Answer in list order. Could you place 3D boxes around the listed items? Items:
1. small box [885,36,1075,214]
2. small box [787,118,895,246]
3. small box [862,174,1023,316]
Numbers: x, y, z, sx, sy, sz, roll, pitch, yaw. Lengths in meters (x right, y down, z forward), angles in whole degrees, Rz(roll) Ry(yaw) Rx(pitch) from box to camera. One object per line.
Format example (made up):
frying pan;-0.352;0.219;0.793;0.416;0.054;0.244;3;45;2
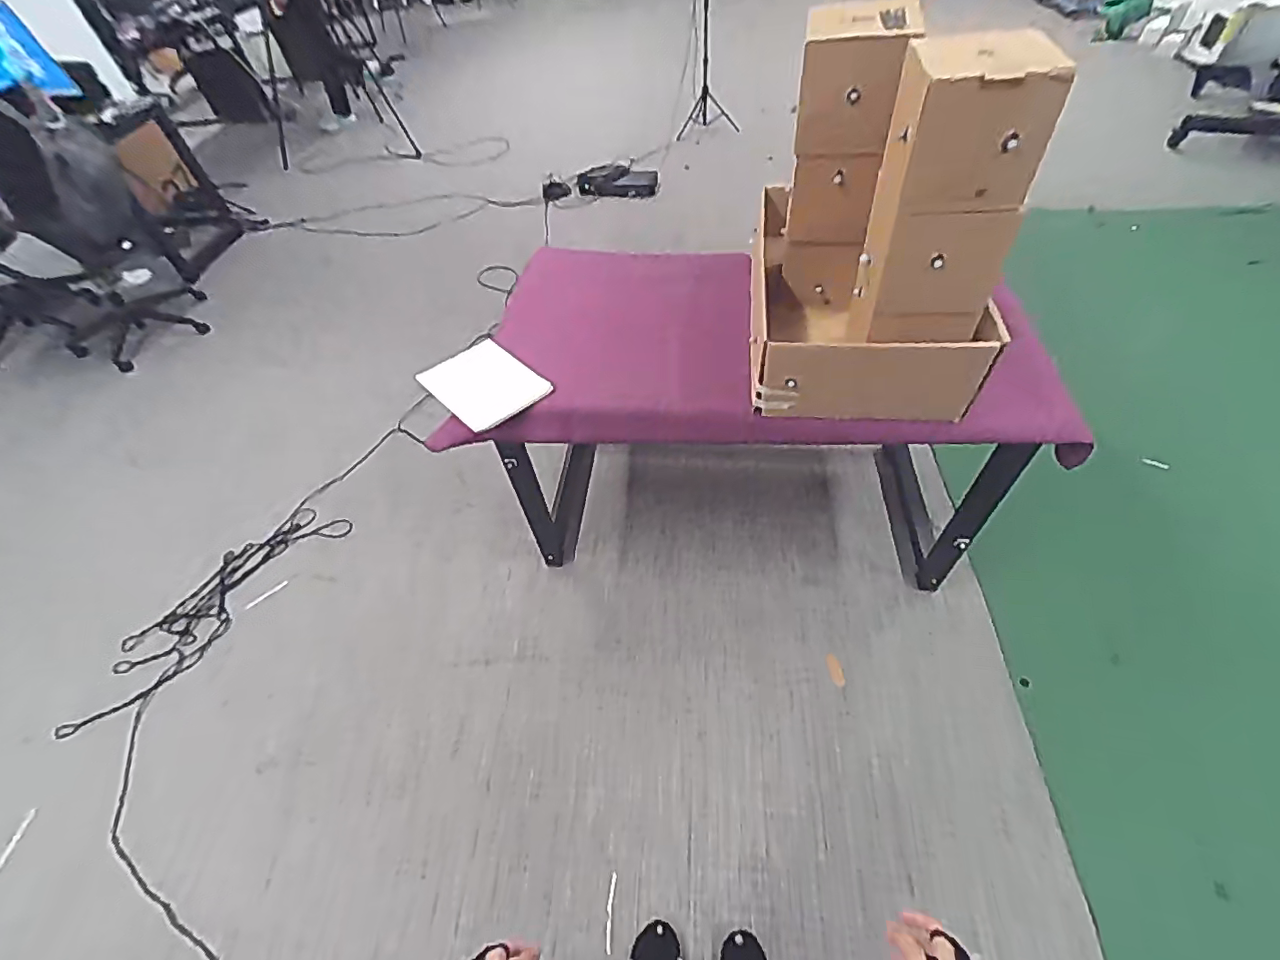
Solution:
small box;0.457;-0.492;0.762;0.168;0.176;0.179;4;51;11
small box;0.392;-0.577;1.055;0.179;0.176;0.168;7;55;13
small box;0.476;-0.383;0.883;0.179;0.176;0.168;2;51;11
